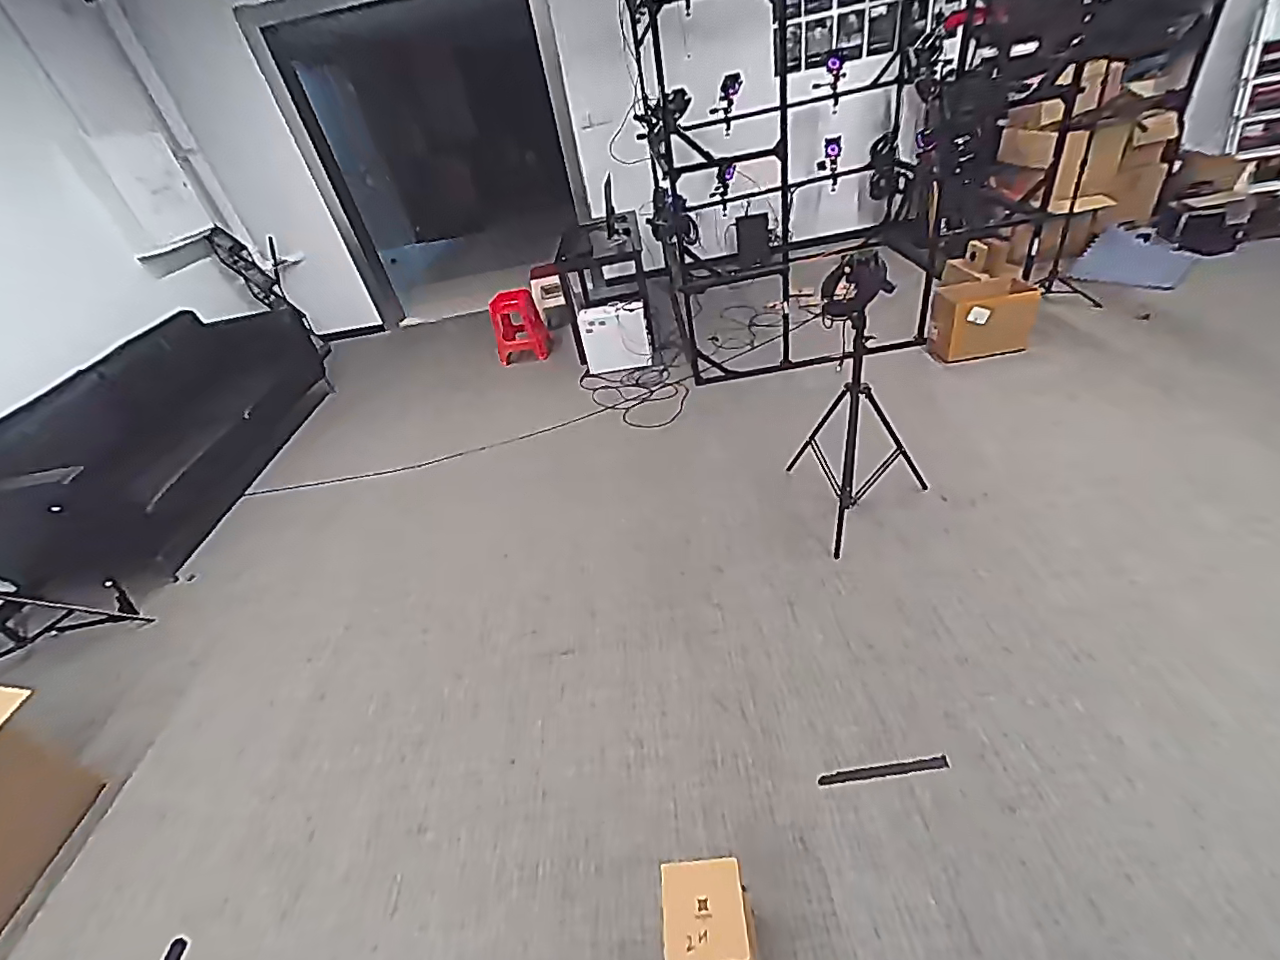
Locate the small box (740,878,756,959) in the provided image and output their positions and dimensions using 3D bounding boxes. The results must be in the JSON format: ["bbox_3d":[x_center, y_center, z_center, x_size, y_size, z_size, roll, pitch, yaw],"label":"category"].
[{"bbox_3d":[0.173,1.042,1.228,0.168,0.176,0.179,-9,36,6],"label":"small box"}]

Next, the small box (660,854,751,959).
[{"bbox_3d":[0.136,0.916,1.128,0.168,0.176,0.179,-10,37,6],"label":"small box"}]
